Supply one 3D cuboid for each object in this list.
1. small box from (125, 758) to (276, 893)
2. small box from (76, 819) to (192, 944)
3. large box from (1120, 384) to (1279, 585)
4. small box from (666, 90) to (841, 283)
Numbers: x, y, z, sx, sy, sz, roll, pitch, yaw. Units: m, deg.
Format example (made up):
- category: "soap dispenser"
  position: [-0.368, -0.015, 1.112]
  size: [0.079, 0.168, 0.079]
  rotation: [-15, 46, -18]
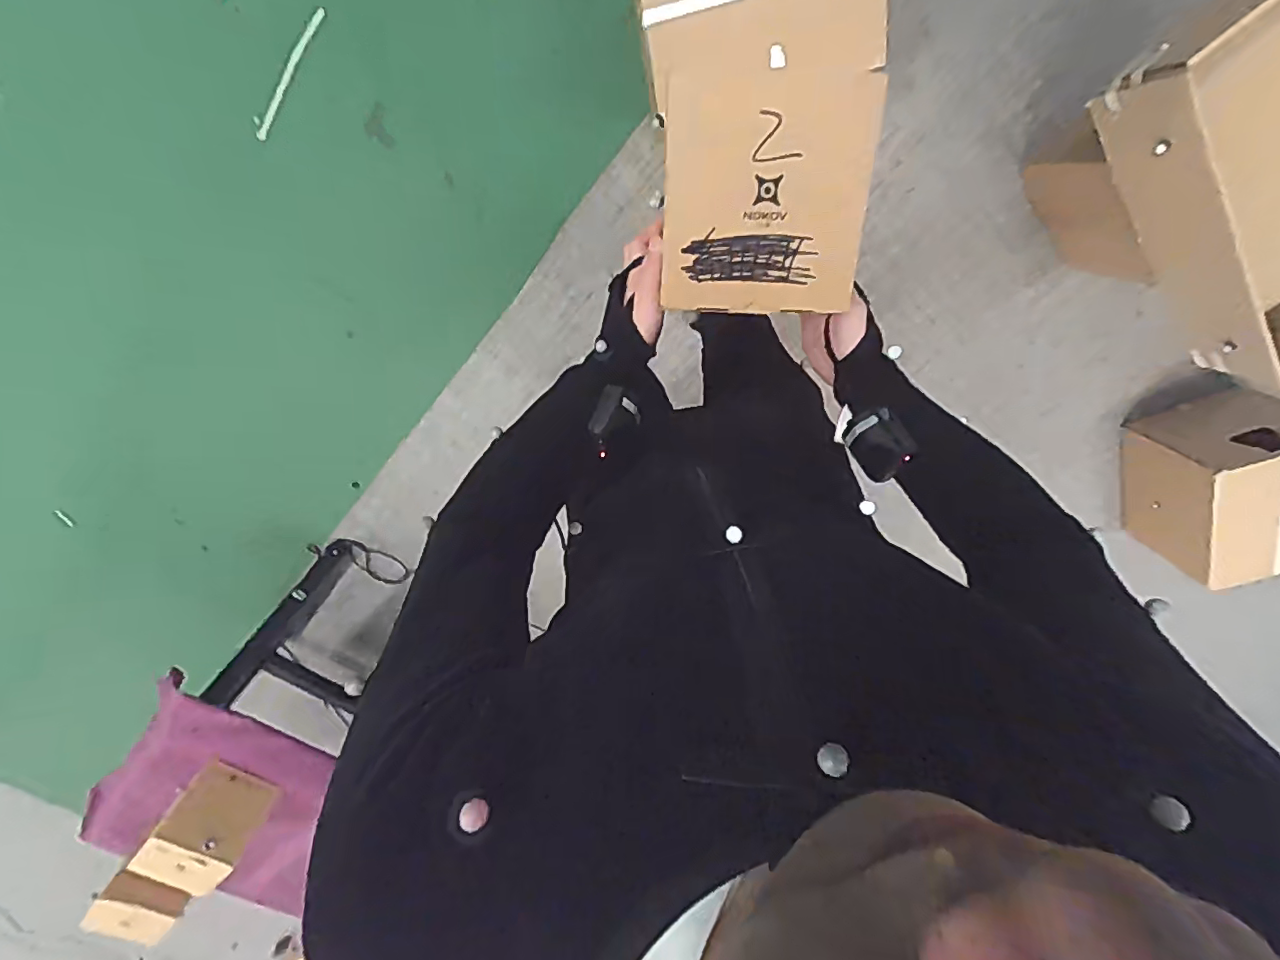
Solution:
- category: "small box"
  position: [-0.936, 0.742, 1.167]
  size: [0.168, 0.176, 0.179]
  rotation: [40, 114, -20]
- category: "small box"
  position: [-1.153, 0.947, 1.279]
  size: [0.168, 0.176, 0.179]
  rotation: [36, 113, -20]
- category: "large box"
  position: [1.616, 0.009, 1.495]
  size: [0.320, 0.320, 0.408]
  rotation: [-22, 115, 11]
- category: "small box"
  position: [0.120, -0.343, 0.652]
  size: [0.168, 0.176, 0.179]
  rotation: [4, 115, 0]
